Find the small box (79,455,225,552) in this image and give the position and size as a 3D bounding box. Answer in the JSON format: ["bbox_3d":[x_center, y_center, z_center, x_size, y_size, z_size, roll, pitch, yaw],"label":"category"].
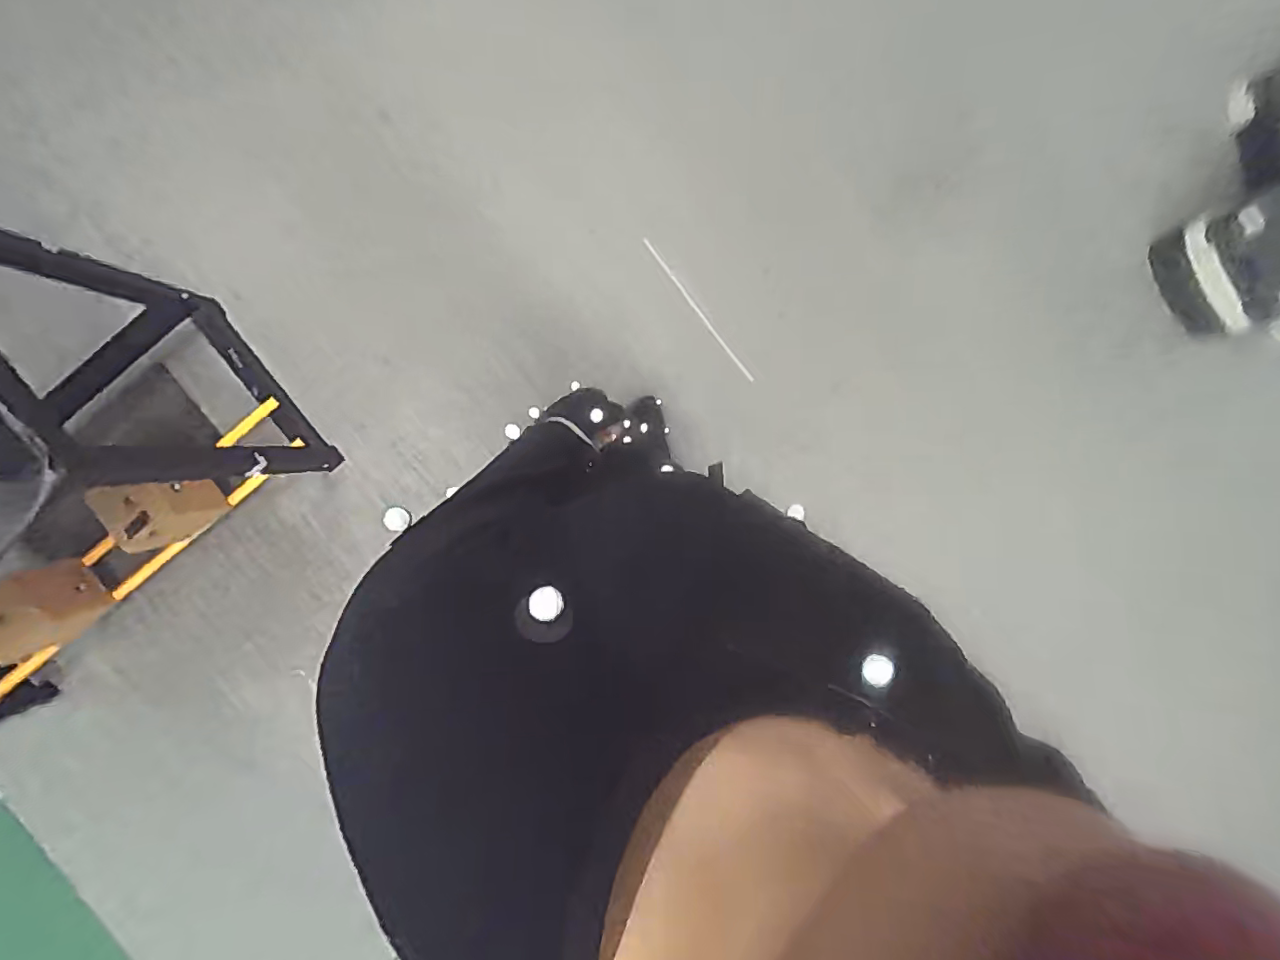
[{"bbox_3d":[-1.193,0.049,1.338,0.168,0.176,0.179,-34,92,3],"label":"small box"}]
